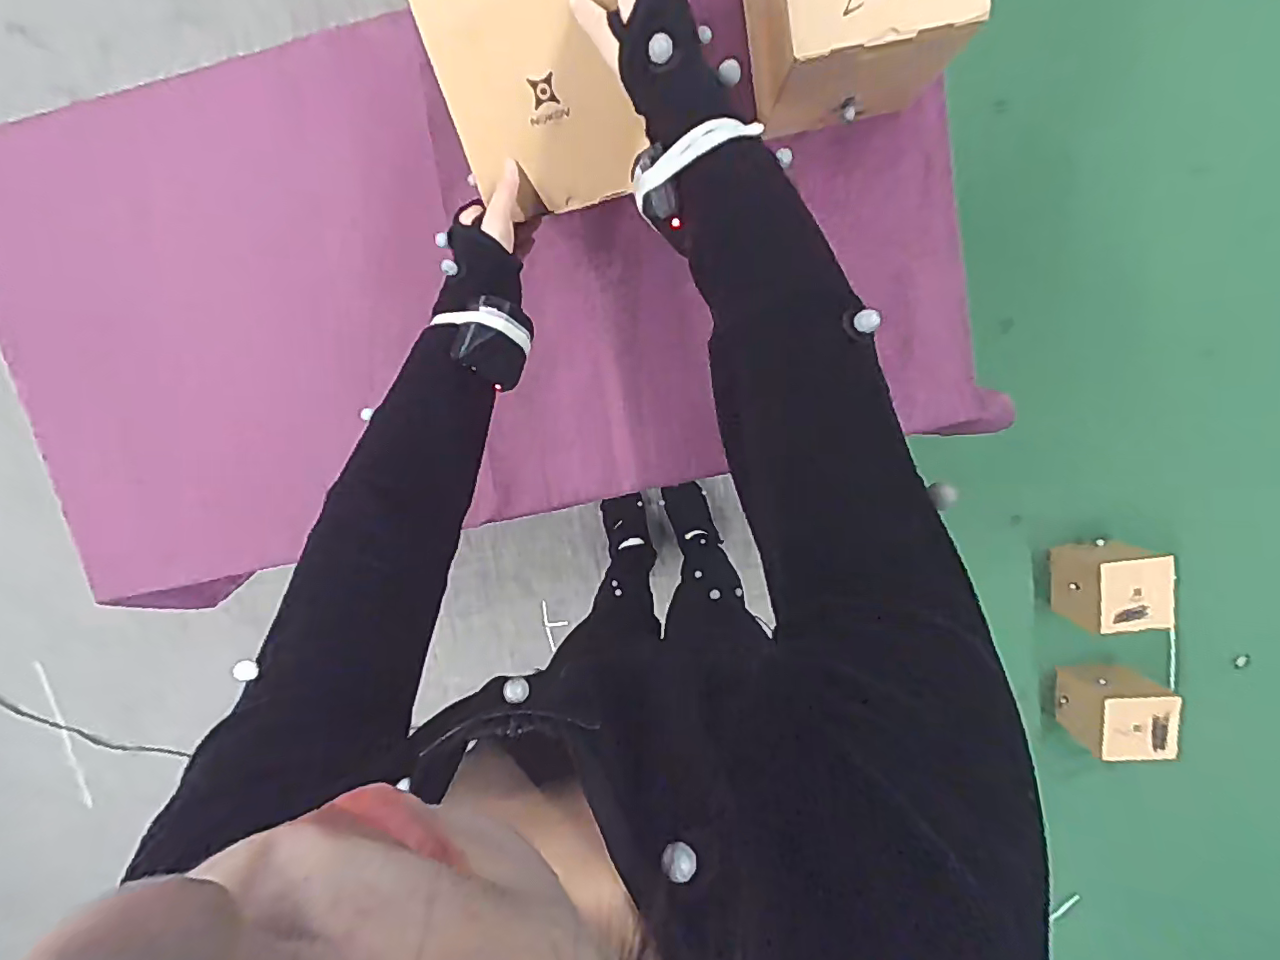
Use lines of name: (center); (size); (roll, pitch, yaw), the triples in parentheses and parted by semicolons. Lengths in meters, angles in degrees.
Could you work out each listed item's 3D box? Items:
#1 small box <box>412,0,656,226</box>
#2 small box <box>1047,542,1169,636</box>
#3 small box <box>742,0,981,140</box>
small box: (-0.085, -0.373, 0.522); (0.168, 0.176, 0.179); (-11, 128, 7)
small box: (1.144, 0.263, 1.334); (0.168, 0.176, 0.179); (-7, 97, 4)
small box: (0.197, -0.471, 0.524); (0.168, 0.176, 0.179); (-9, 101, 5)
